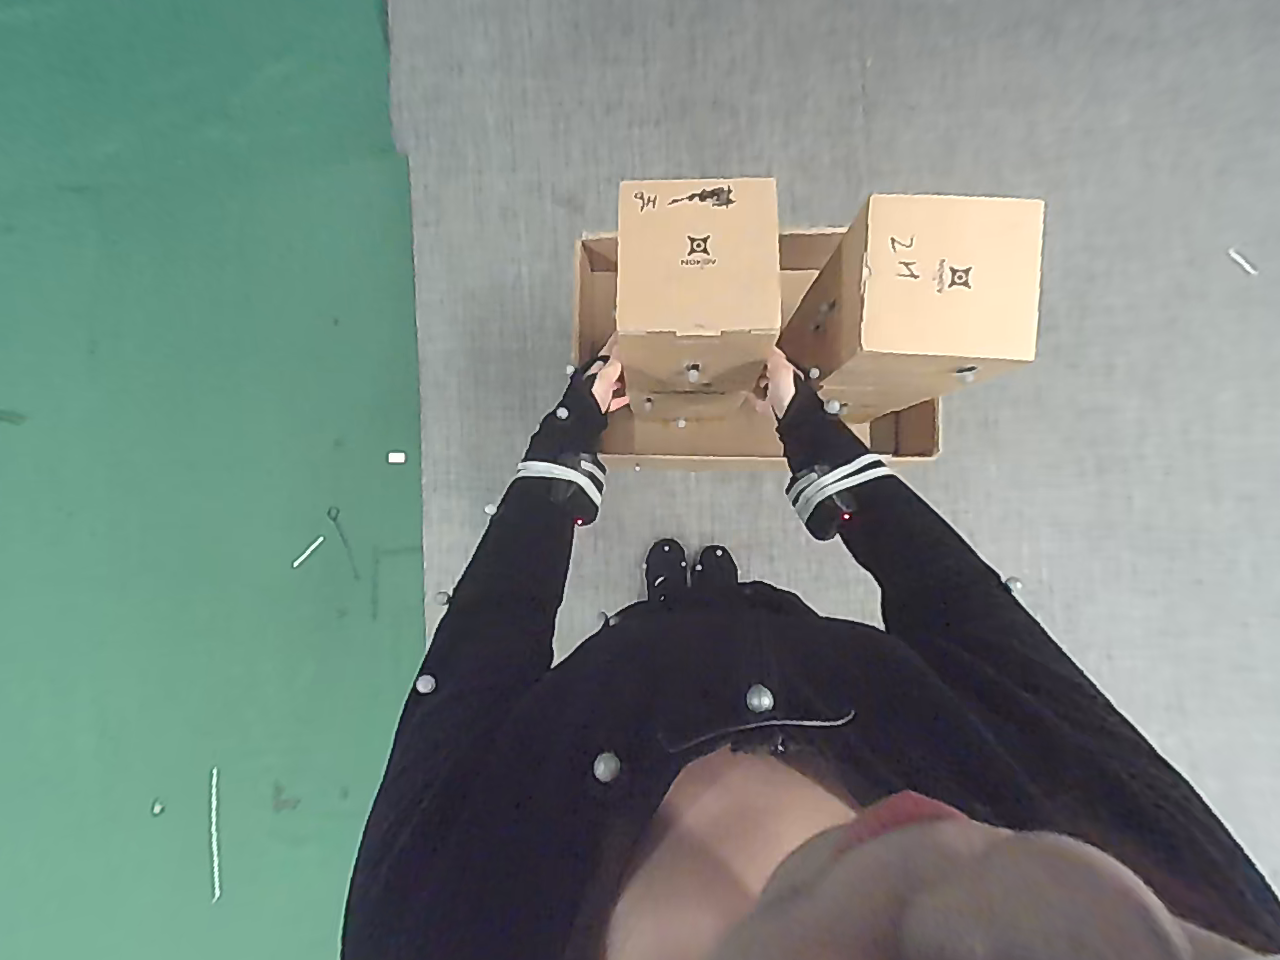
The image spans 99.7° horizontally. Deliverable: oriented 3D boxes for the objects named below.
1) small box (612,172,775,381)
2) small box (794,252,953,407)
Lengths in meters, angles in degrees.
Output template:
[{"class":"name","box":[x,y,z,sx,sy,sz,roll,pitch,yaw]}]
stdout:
[{"class":"small box","box":[0.060,-0.221,0.629,0.168,0.176,0.179,0,81,3]},{"class":"small box","box":[0.327,-0.210,0.789,0.168,0.176,0.179,4,90,5]}]
